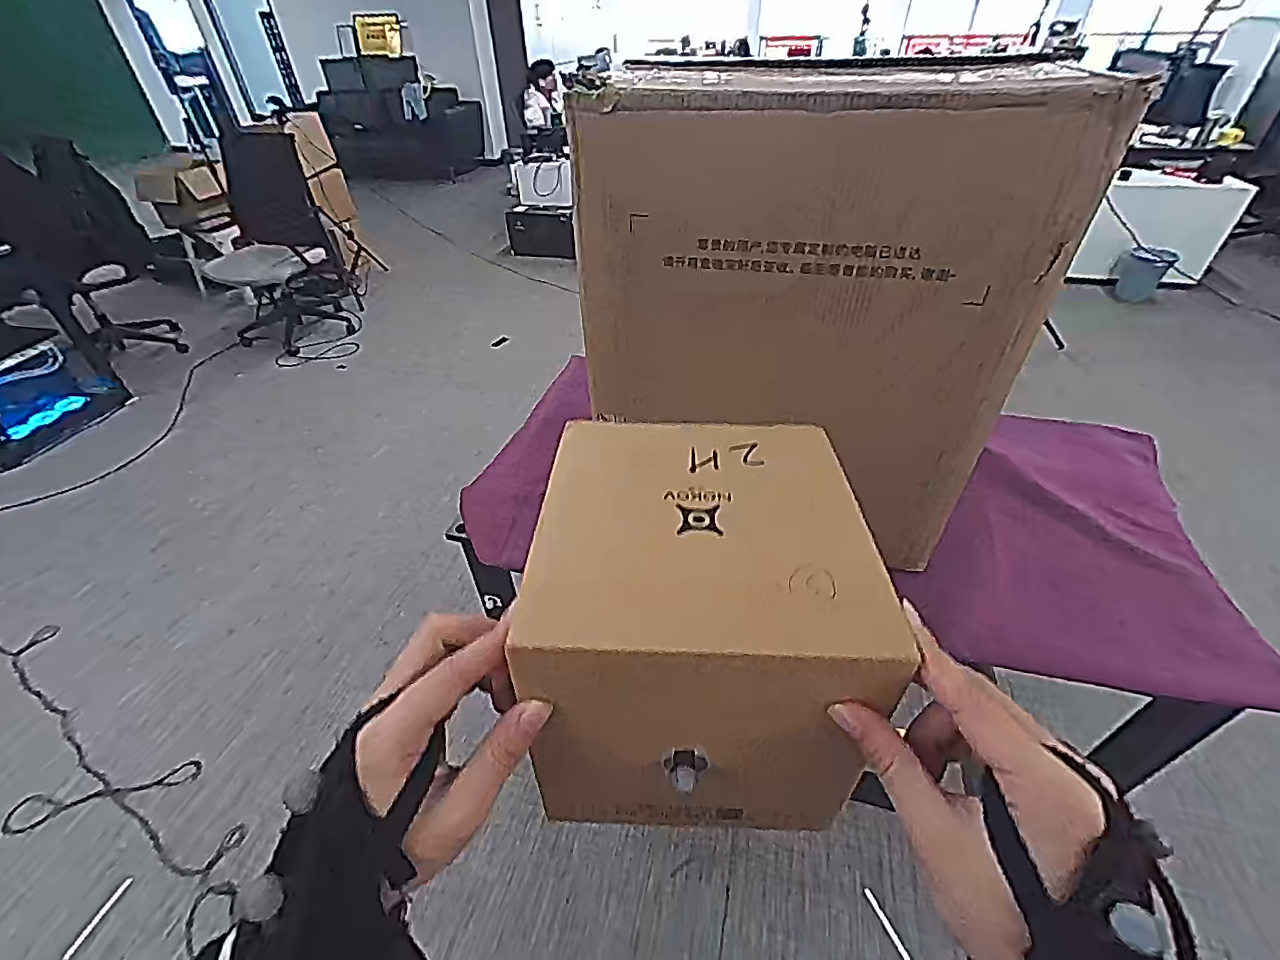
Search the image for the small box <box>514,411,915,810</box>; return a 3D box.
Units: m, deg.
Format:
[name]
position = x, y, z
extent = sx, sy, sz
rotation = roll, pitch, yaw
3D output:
[small box]
position = 0.034, 0.074, 0.330
extent = 0.168, 0.176, 0.179
rotation = 2, 37, 2
